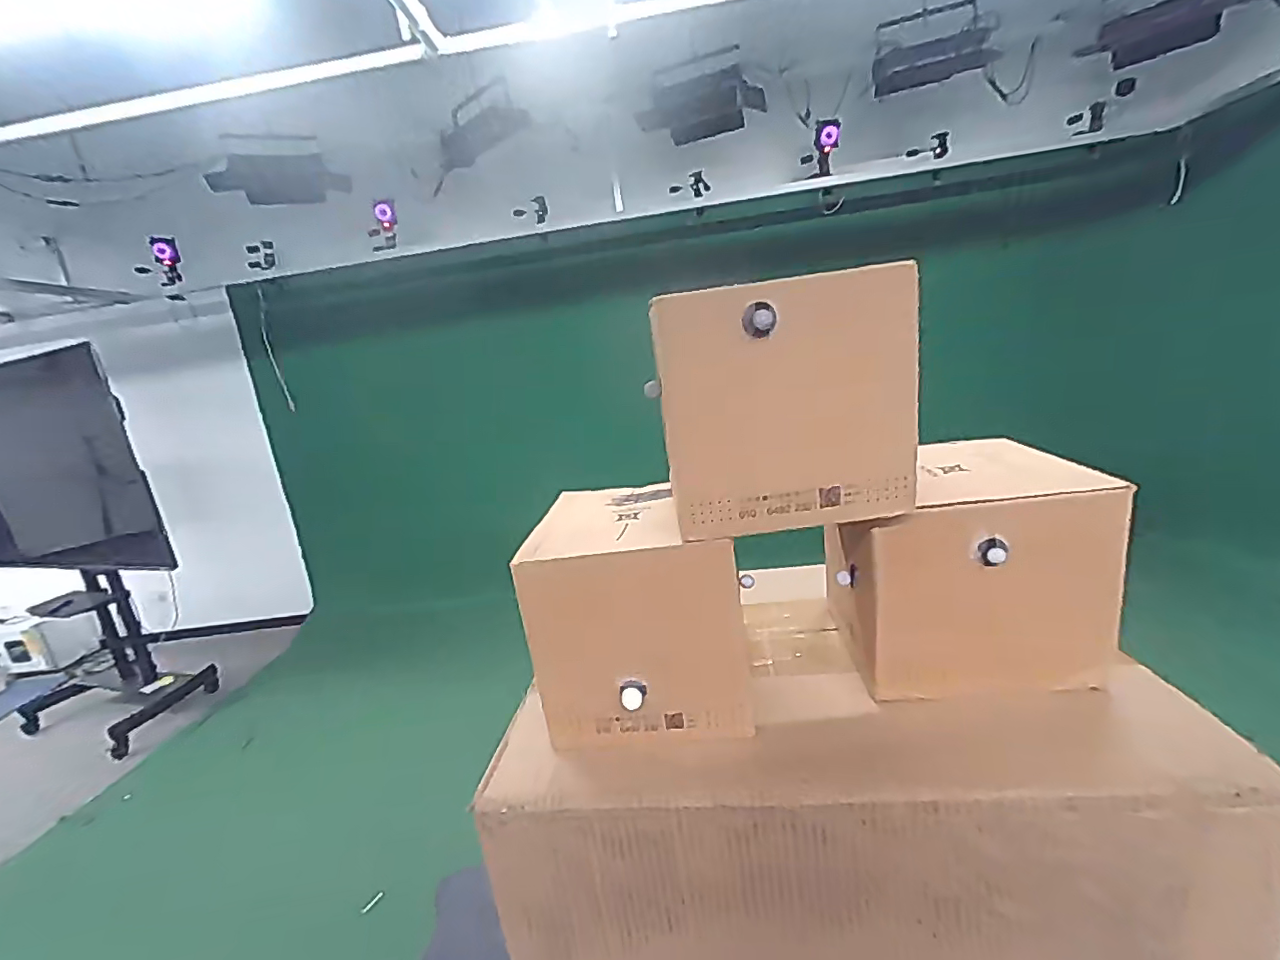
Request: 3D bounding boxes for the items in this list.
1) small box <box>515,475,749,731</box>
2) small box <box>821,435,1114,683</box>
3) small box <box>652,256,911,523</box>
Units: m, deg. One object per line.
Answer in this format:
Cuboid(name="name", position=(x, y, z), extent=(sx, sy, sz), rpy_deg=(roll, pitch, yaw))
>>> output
Cuboid(name="small box", position=(0.005, 0.099, 0.493), extent=(0.168, 0.176, 0.179), rpy_deg=(-7, 15, 8))
Cuboid(name="small box", position=(0.266, 0.063, 0.484), extent=(0.179, 0.176, 0.168), rpy_deg=(-4, 16, 7))
Cuboid(name="small box", position=(0.099, -0.073, 0.442), extent=(0.168, 0.176, 0.179), rpy_deg=(-7, 15, 2))
